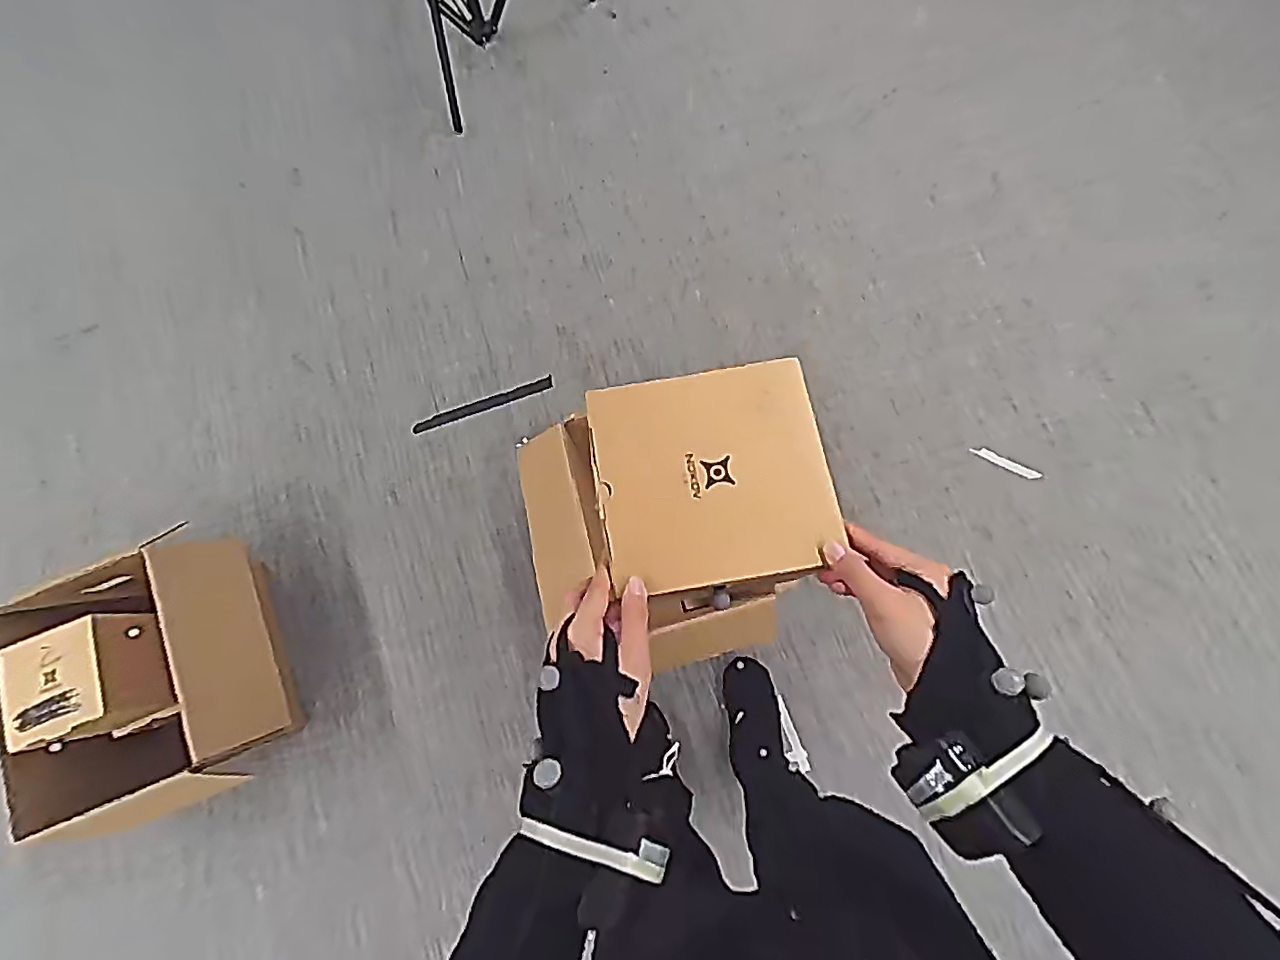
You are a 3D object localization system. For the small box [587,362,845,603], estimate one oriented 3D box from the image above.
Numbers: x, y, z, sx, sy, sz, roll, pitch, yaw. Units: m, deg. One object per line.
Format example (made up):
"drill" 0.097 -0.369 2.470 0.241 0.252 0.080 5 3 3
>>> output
"small box" 0.056 0.015 0.492 0.179 0.176 0.168 -10 75 0
